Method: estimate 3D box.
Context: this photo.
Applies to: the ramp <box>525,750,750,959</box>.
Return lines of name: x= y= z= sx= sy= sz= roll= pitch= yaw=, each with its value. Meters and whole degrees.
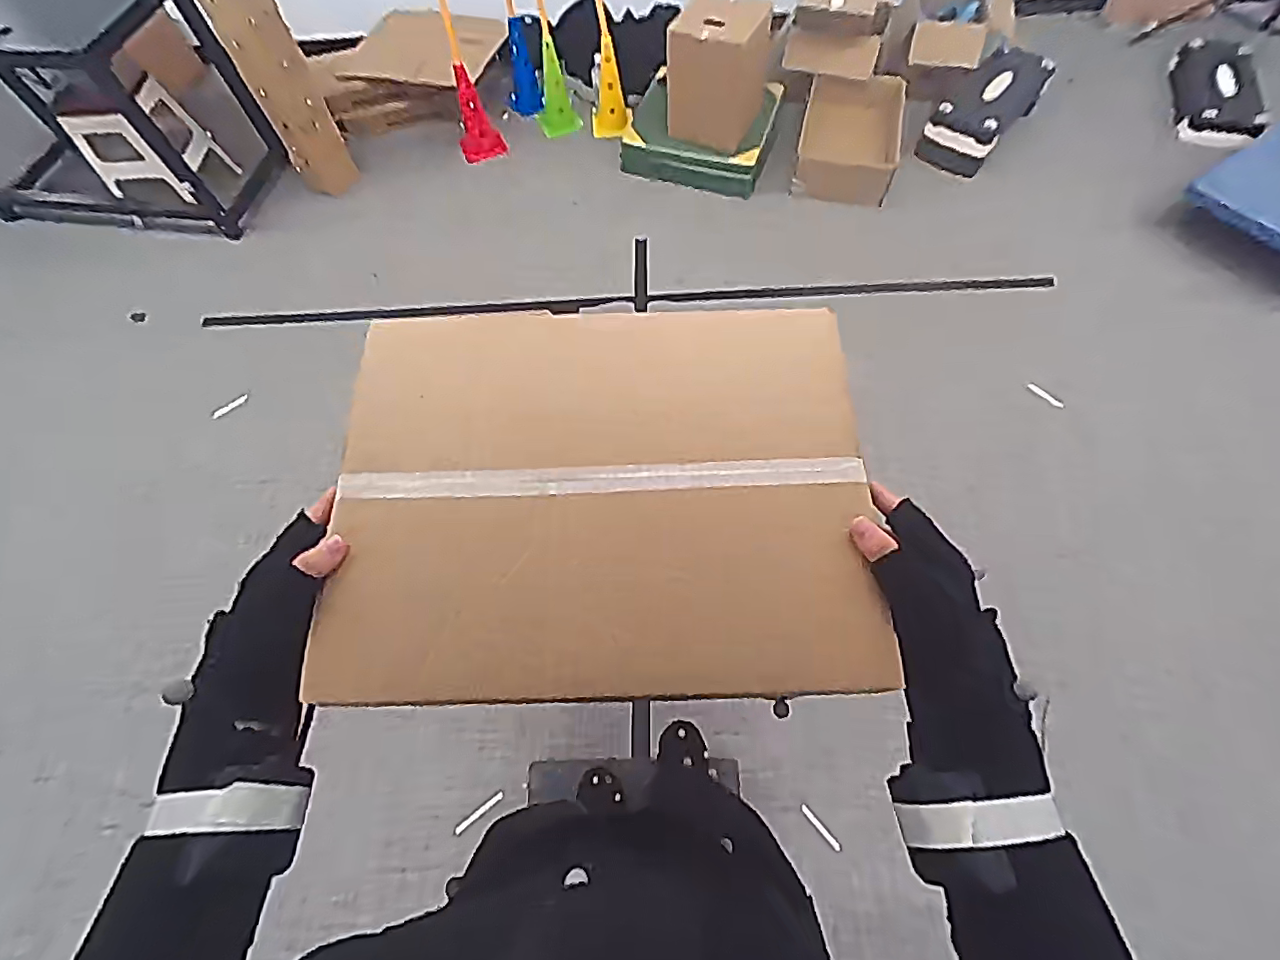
ramp: x=-0.004 y=1.121 z=1.144 sx=0.509 sy=0.206 sz=0.991 roll=-3 pitch=64 yaw=0

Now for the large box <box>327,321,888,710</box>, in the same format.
large box: x=-0.024 y=0.061 z=0.569 sx=0.408 sy=0.320 sz=0.320 roll=-2 pitch=68 yaw=0
